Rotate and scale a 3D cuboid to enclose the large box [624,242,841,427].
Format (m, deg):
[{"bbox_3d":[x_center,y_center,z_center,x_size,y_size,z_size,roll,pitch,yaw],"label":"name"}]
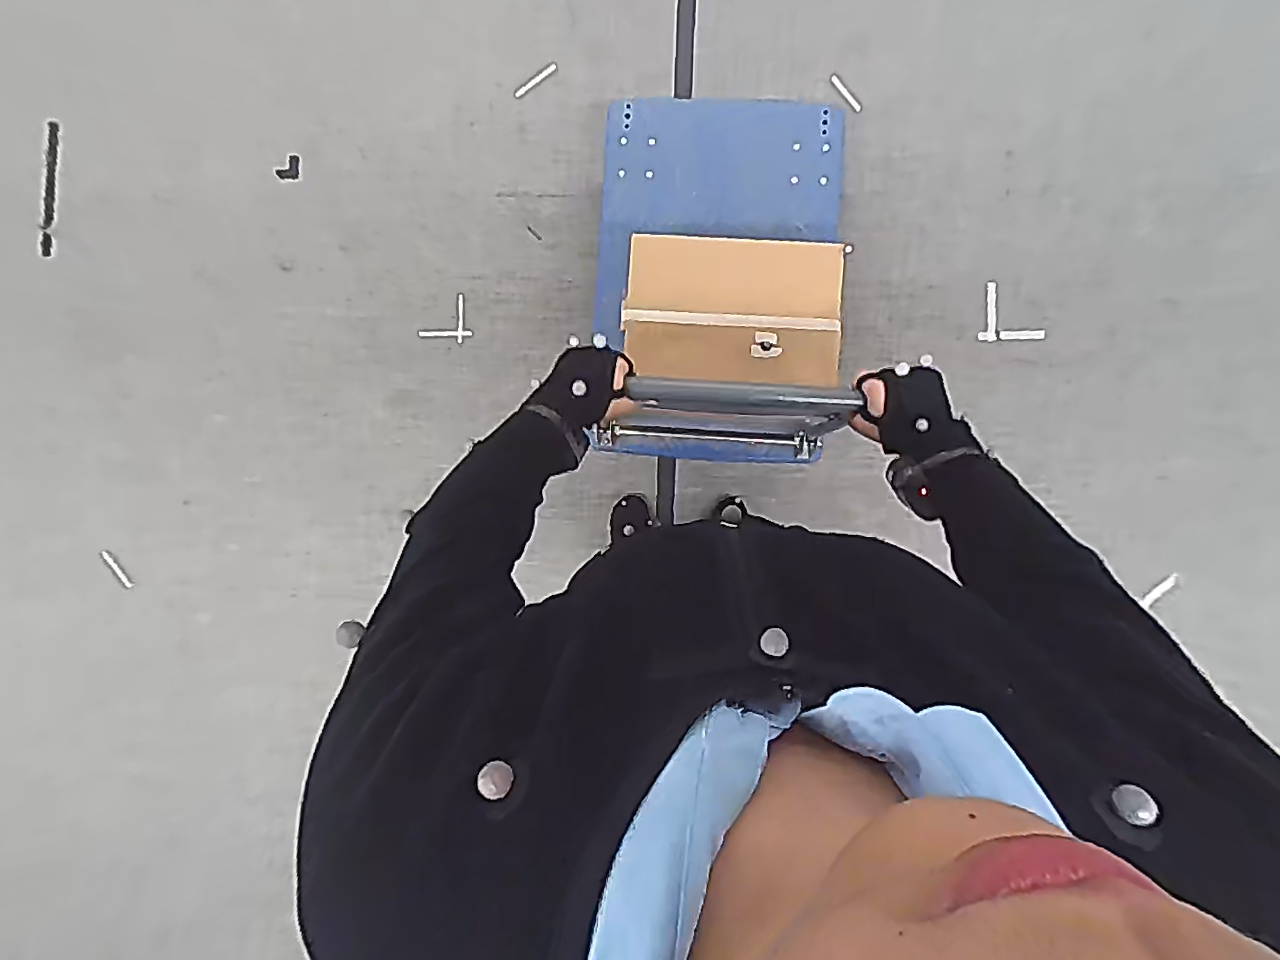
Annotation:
[{"bbox_3d":[0.177,-0.291,1.173,0.408,0.320,0.320,4,91,2],"label":"large box"}]
